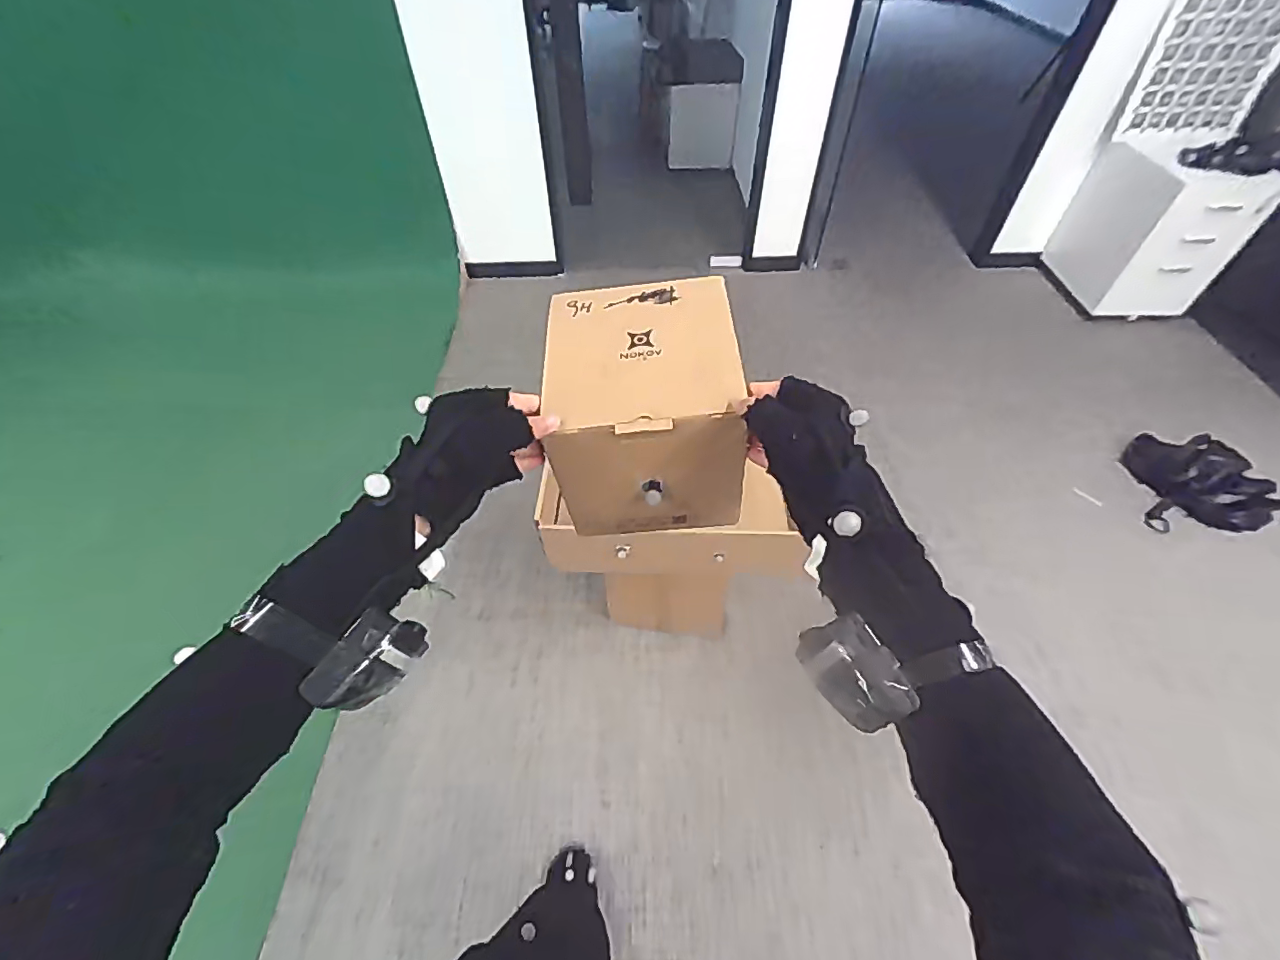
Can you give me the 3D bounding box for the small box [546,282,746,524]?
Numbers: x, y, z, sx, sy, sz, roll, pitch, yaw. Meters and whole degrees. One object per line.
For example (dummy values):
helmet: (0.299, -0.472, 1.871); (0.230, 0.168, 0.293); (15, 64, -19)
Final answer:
small box: (0.012, -0.066, 0.538); (0.168, 0.176, 0.179); (-4, 56, 4)
